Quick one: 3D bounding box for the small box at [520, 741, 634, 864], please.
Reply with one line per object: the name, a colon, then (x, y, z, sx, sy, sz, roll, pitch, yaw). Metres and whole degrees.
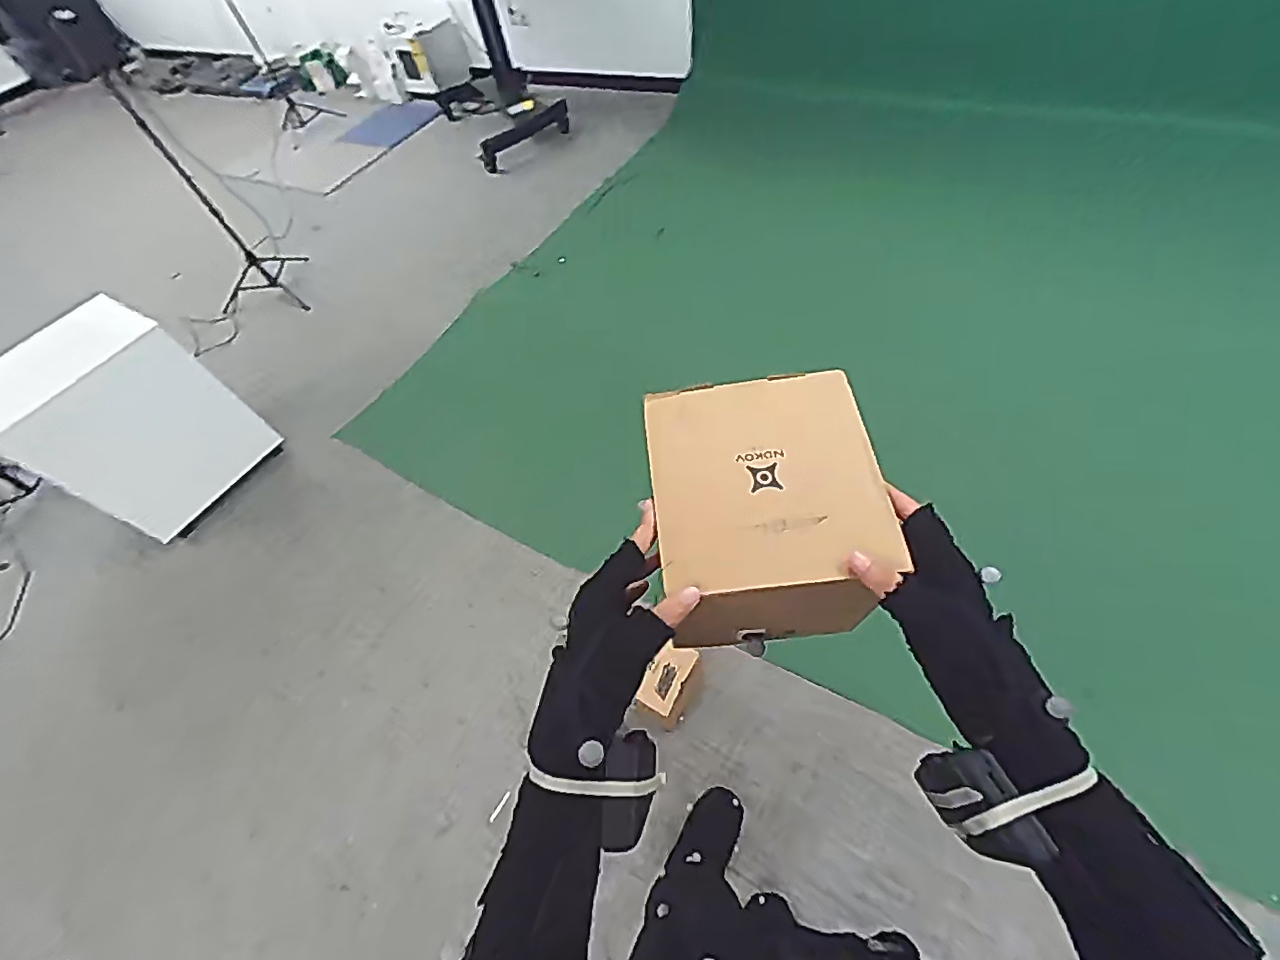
small box: (-0.133, 0.725, 1.212, 0.179, 0.176, 0.168, 28, 64, 25)

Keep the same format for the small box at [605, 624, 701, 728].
small box: (0.040, 0.494, 1.345, 0.179, 0.176, 0.168, 22, 61, 24)

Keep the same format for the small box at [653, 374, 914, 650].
small box: (0.101, 0.036, 0.469, 0.168, 0.176, 0.179, -7, 61, 3)
